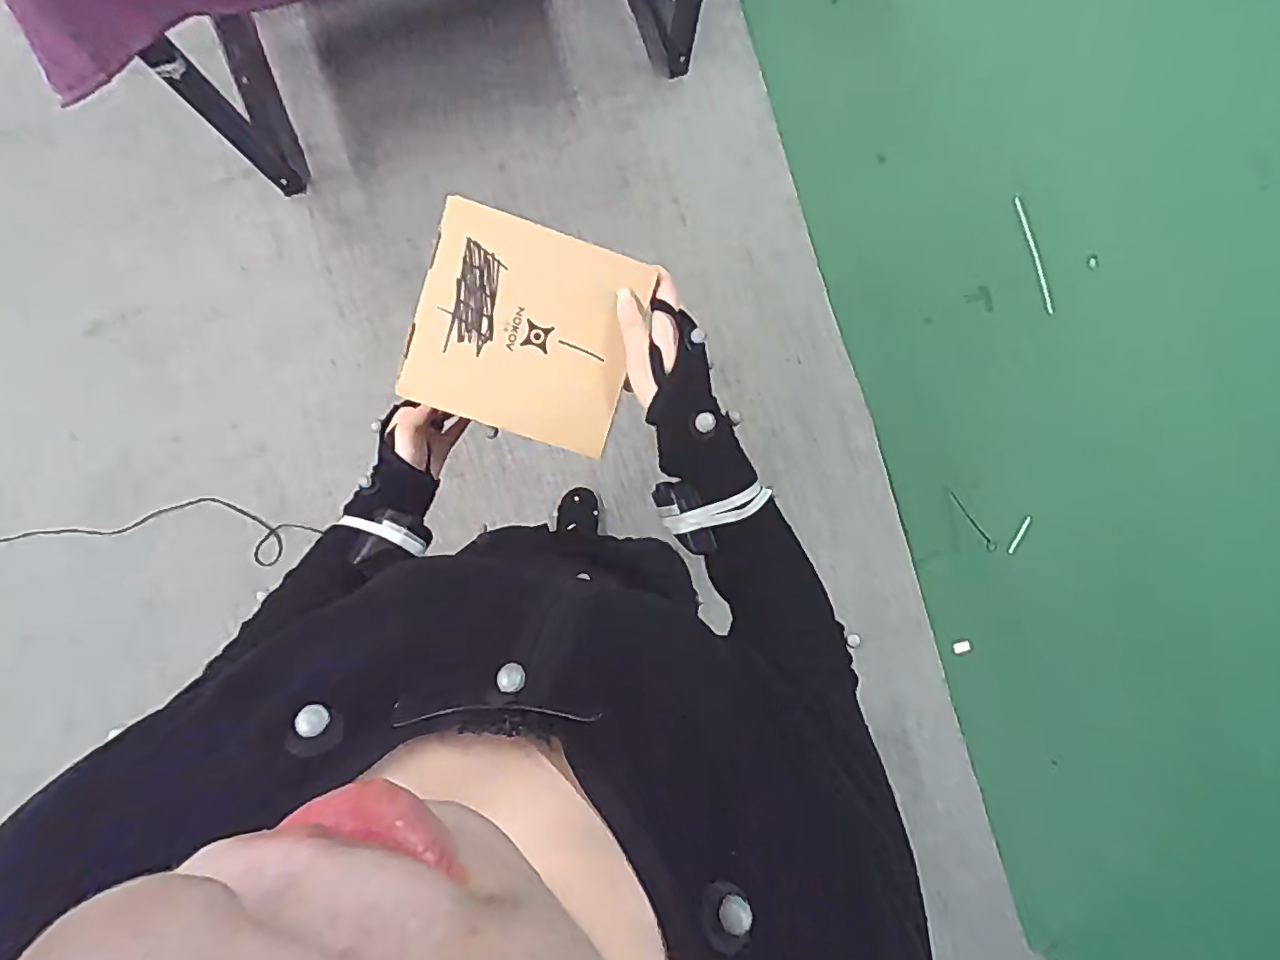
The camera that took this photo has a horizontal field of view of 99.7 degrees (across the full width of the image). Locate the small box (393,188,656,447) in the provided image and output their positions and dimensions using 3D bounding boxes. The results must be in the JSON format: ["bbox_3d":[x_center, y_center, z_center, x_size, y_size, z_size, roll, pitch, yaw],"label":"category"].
[{"bbox_3d":[-0.099,-0.137,0.516,0.179,0.176,0.168,17,96,-7],"label":"small box"}]

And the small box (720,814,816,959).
[{"bbox_3d":[0.279,0.857,1.147,0.179,0.176,0.168,-18,93,-5],"label":"small box"}]

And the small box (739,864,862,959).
[{"bbox_3d":[0.297,0.858,0.985,0.168,0.176,0.179,-16,92,-5],"label":"small box"}]
